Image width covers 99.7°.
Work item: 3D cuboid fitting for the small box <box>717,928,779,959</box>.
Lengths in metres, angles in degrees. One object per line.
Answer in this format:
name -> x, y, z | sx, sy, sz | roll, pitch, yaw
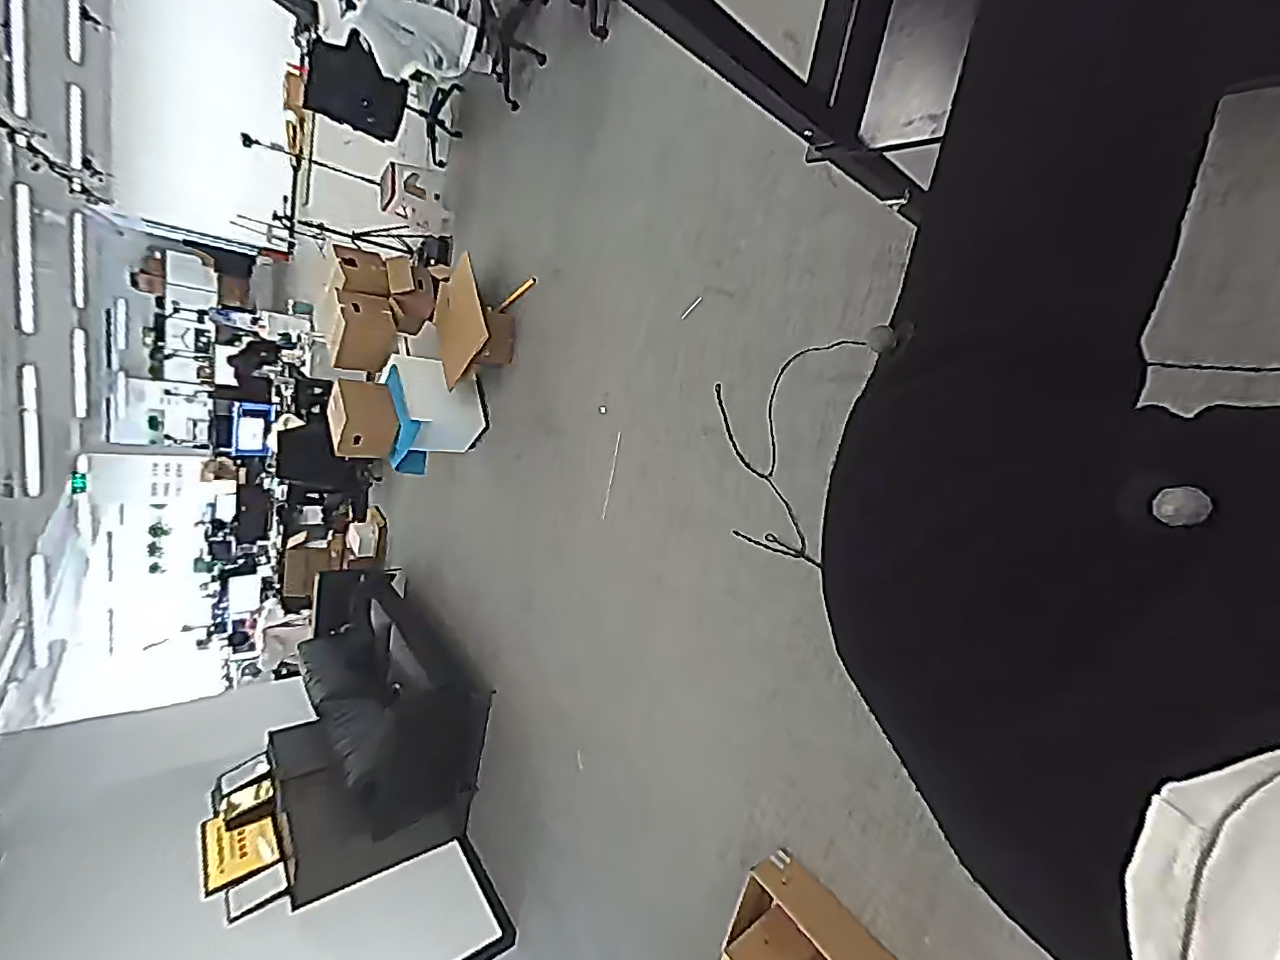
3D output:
small box -> 0.336, 1.569, 1.680 | 0.168, 0.176, 0.179 | 26, 109, 44
